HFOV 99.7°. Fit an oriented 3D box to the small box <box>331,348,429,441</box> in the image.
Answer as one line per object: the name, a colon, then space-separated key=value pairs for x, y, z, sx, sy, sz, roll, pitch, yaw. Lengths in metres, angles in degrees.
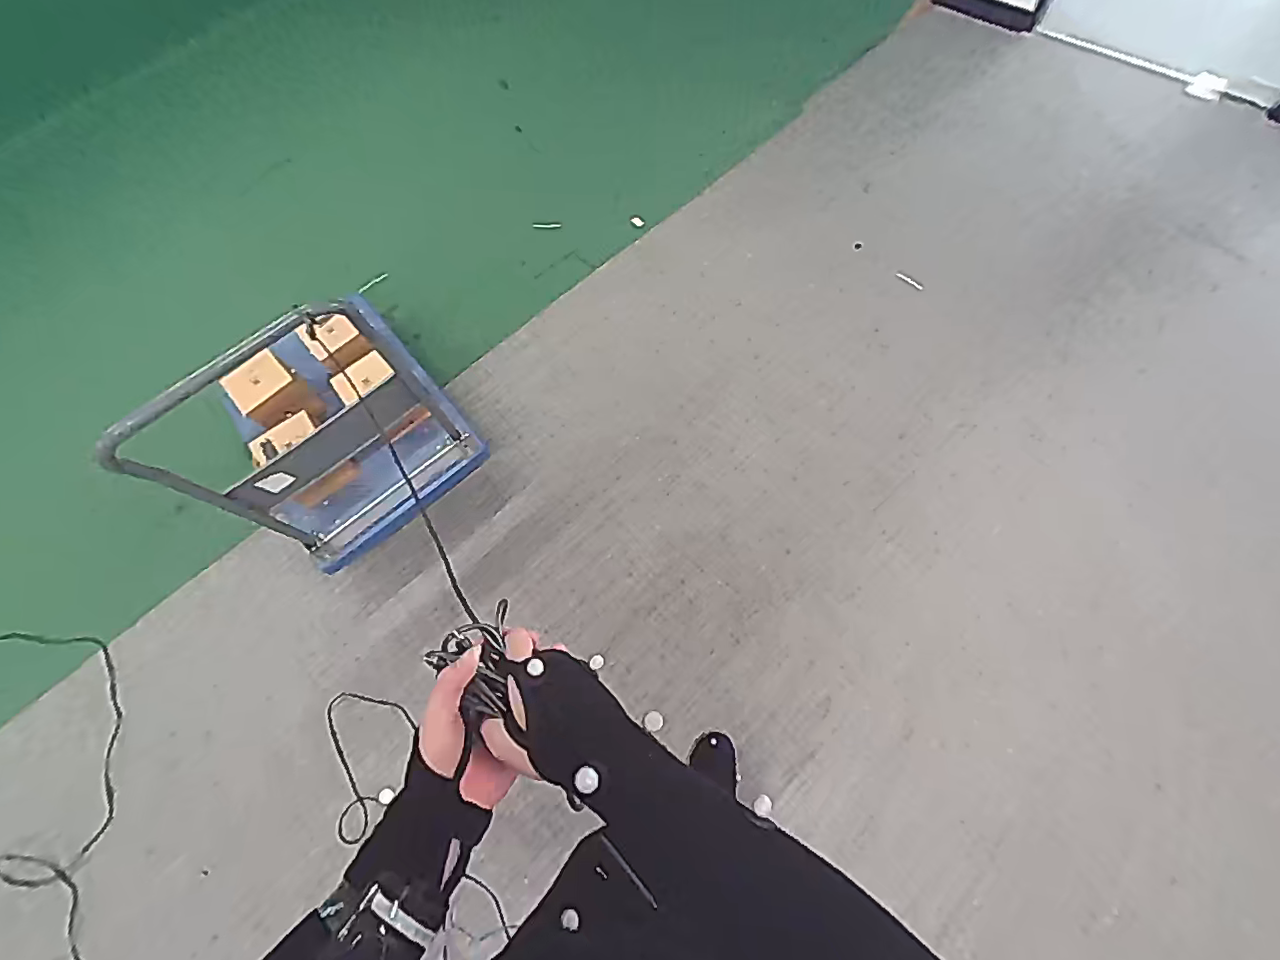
small box: x=-0.765 y=-0.247 z=1.603 sx=0.168 sy=0.176 sz=0.179 roll=-38 pitch=69 yaw=-10

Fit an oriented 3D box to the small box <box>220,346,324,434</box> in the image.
small box: x=-1.114 y=-0.265 z=1.652 sx=0.168 sy=0.176 sz=0.179 roll=-42 pitch=68 yaw=-12

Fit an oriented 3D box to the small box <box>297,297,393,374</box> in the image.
small box: x=-0.922 y=-0.428 z=1.699 sx=0.168 sy=0.176 sz=0.179 roll=-41 pitch=69 yaw=-10
